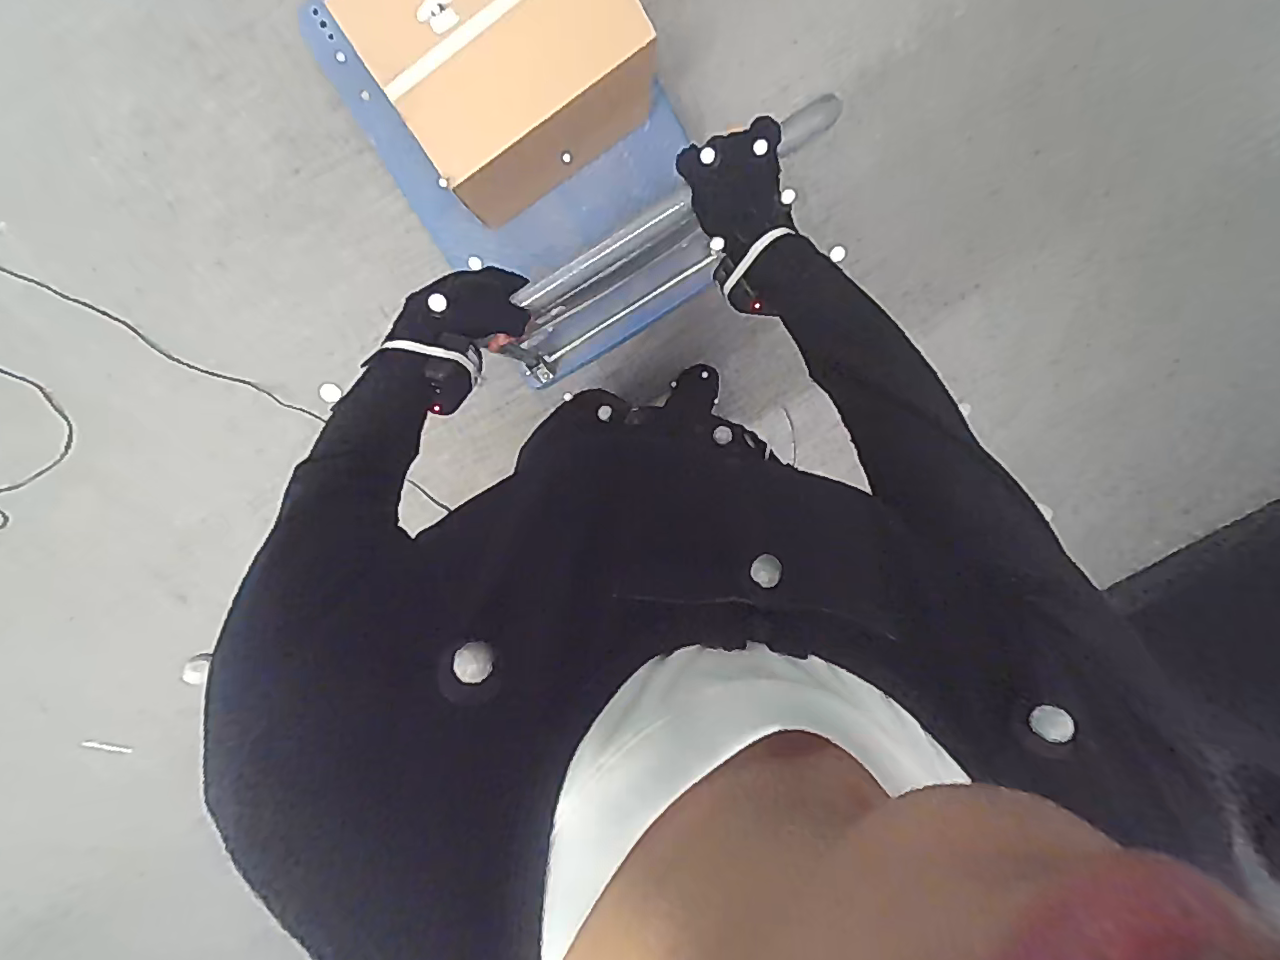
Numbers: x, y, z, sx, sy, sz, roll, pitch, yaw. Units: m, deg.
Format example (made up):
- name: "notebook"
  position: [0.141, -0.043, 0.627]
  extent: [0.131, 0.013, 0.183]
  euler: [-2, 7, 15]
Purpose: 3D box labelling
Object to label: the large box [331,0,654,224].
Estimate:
- name: "large box"
  position: [-0.228, -0.743, 0.971]
  extent: [0.408, 0.320, 0.320]
  euler: [-34, 102, 6]
